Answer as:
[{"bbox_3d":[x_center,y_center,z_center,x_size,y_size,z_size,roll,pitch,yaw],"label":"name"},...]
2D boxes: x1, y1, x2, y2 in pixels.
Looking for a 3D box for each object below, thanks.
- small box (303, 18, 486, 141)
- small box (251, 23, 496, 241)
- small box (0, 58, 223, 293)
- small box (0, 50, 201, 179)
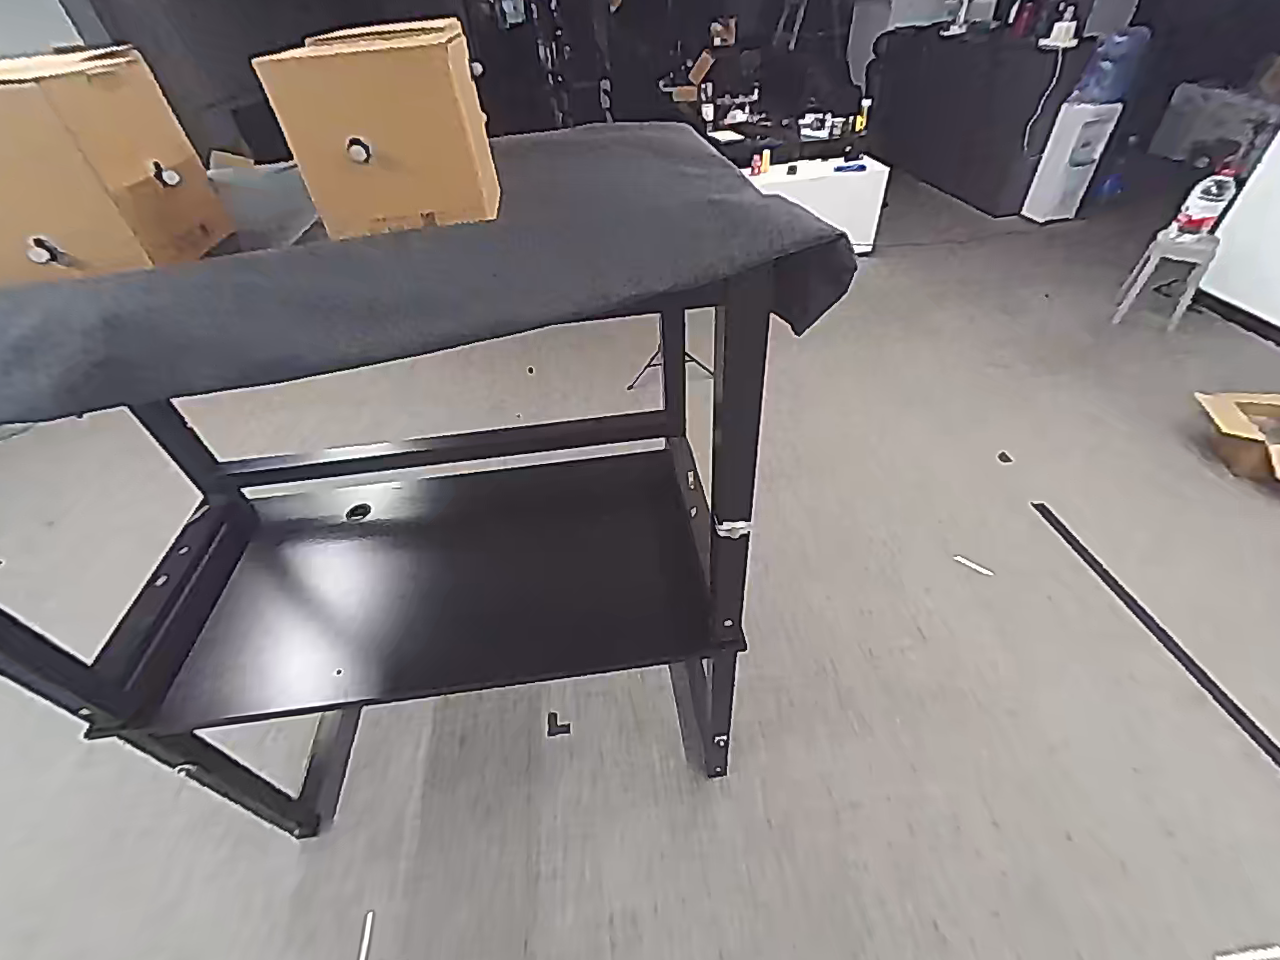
[{"bbox_3d":[-0.337,-0.551,0.784,0.179,0.176,0.168,-8,43,-3],"label":"small box"},{"bbox_3d":[-0.257,-0.366,0.577,0.168,0.176,0.179,-9,42,-4],"label":"small box"},{"bbox_3d":[-0.573,-0.302,0.538,0.179,0.176,0.168,-8,41,-4],"label":"small box"},{"bbox_3d":[-0.762,-0.477,0.748,0.168,0.176,0.179,-13,43,-7],"label":"small box"}]
